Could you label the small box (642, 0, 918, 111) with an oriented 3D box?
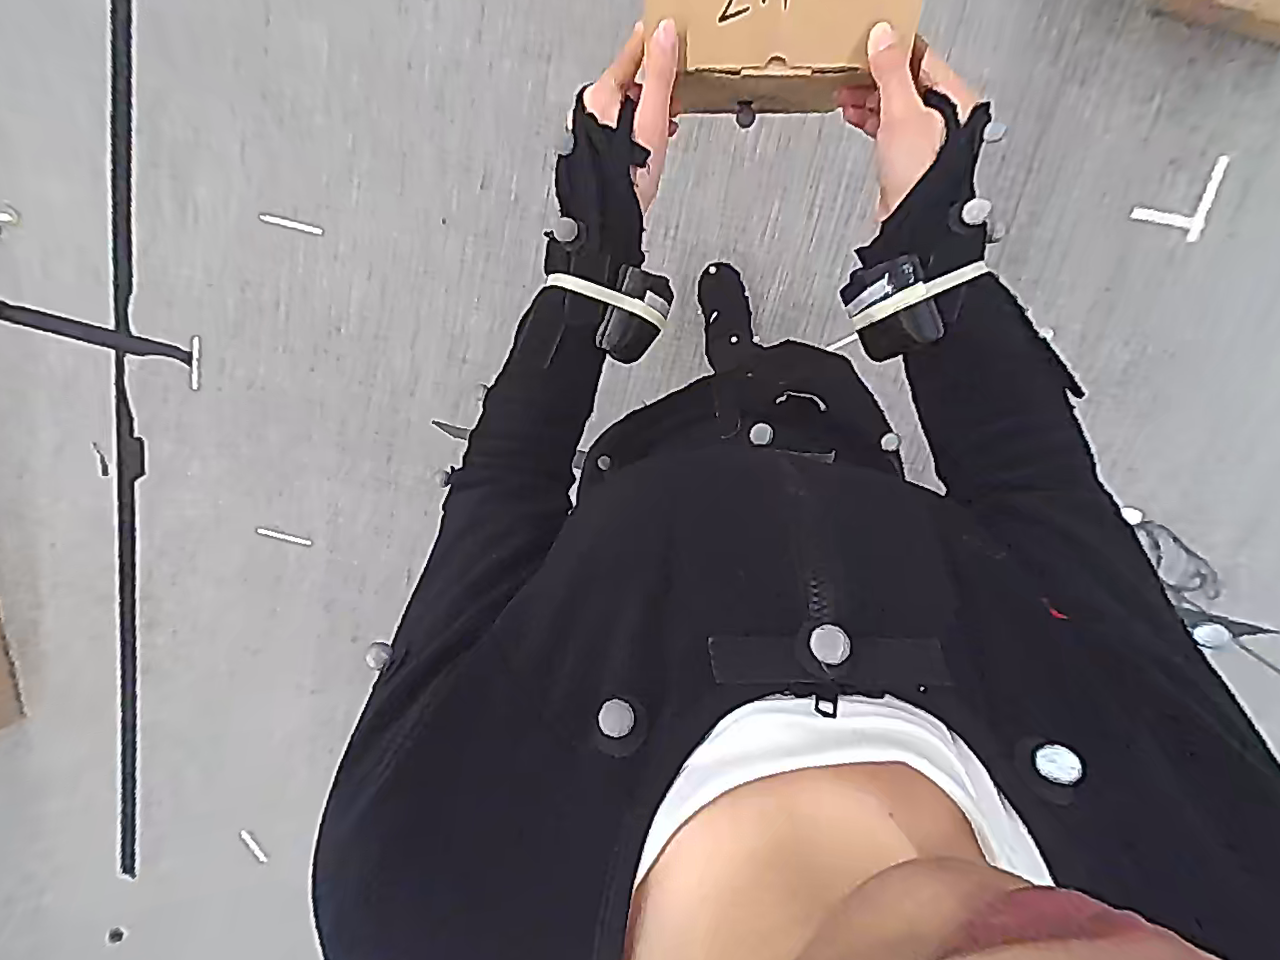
[{"bbox_3d":[0.085,-0.372,0.368,0.168,0.176,0.179,1,116,1],"label":"small box"}]
